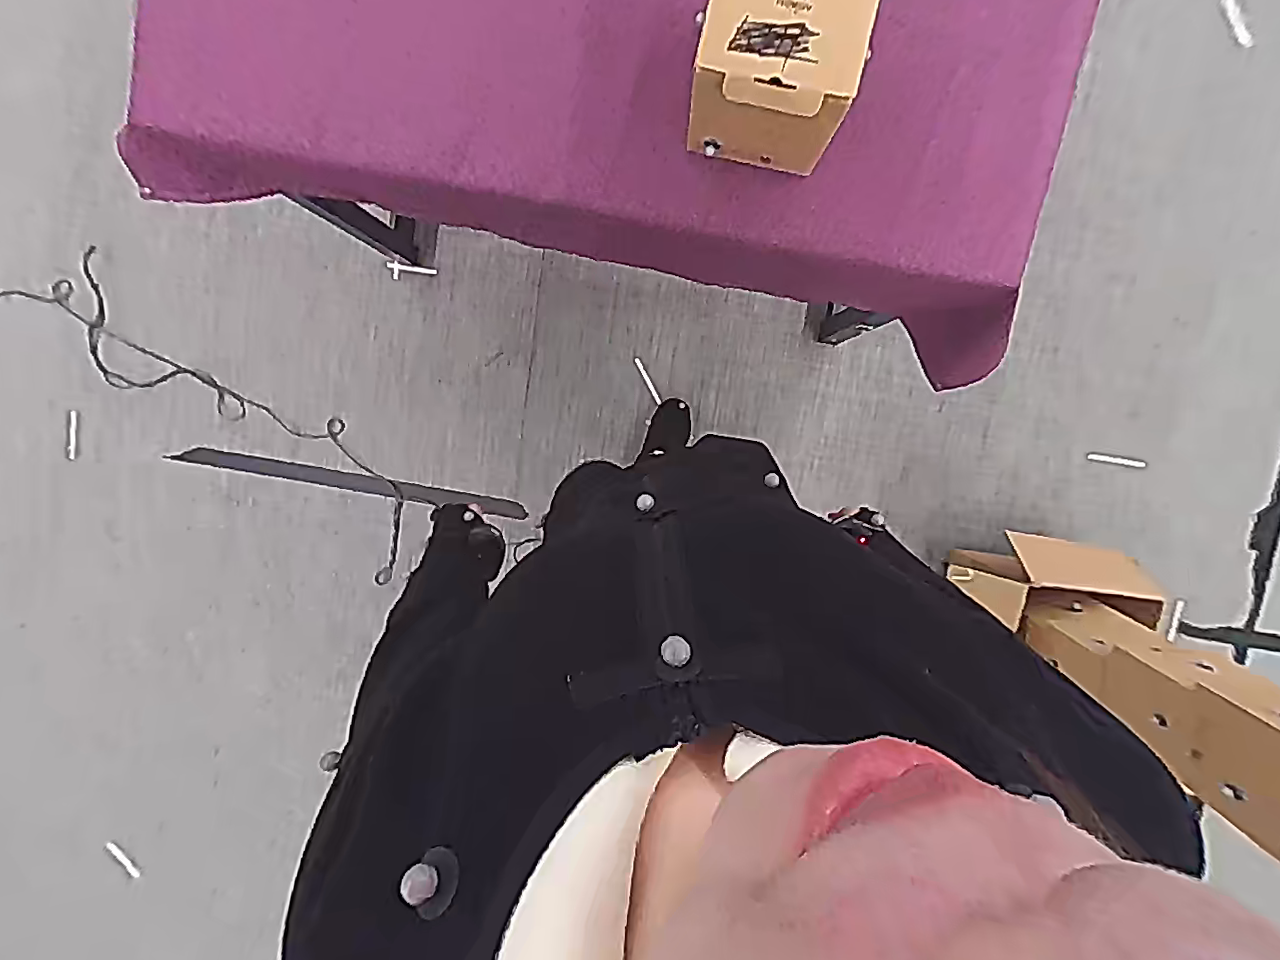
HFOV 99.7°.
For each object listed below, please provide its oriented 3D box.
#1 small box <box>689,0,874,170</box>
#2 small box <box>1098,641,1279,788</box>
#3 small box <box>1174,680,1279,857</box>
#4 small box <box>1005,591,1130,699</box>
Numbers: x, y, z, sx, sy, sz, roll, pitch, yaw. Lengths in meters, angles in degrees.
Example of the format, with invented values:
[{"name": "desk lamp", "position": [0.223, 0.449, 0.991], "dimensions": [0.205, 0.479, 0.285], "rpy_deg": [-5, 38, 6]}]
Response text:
[{"name": "small box", "position": [0.153, -0.488, 0.613], "dimensions": [0.168, 0.176, 0.179], "rpy_deg": [13, 96, 0]}, {"name": "small box", "position": [0.927, 0.390, 0.914], "dimensions": [0.168, 0.176, 0.179], "rpy_deg": [3, 100, 6]}, {"name": "small box", "position": [0.914, 0.399, 0.751], "dimensions": [0.179, 0.176, 0.168], "rpy_deg": [4, 101, 4]}, {"name": "small box", "position": [0.974, 0.368, 1.241], "dimensions": [0.168, 0.176, 0.179], "rpy_deg": [-11, 99, 7]}]
